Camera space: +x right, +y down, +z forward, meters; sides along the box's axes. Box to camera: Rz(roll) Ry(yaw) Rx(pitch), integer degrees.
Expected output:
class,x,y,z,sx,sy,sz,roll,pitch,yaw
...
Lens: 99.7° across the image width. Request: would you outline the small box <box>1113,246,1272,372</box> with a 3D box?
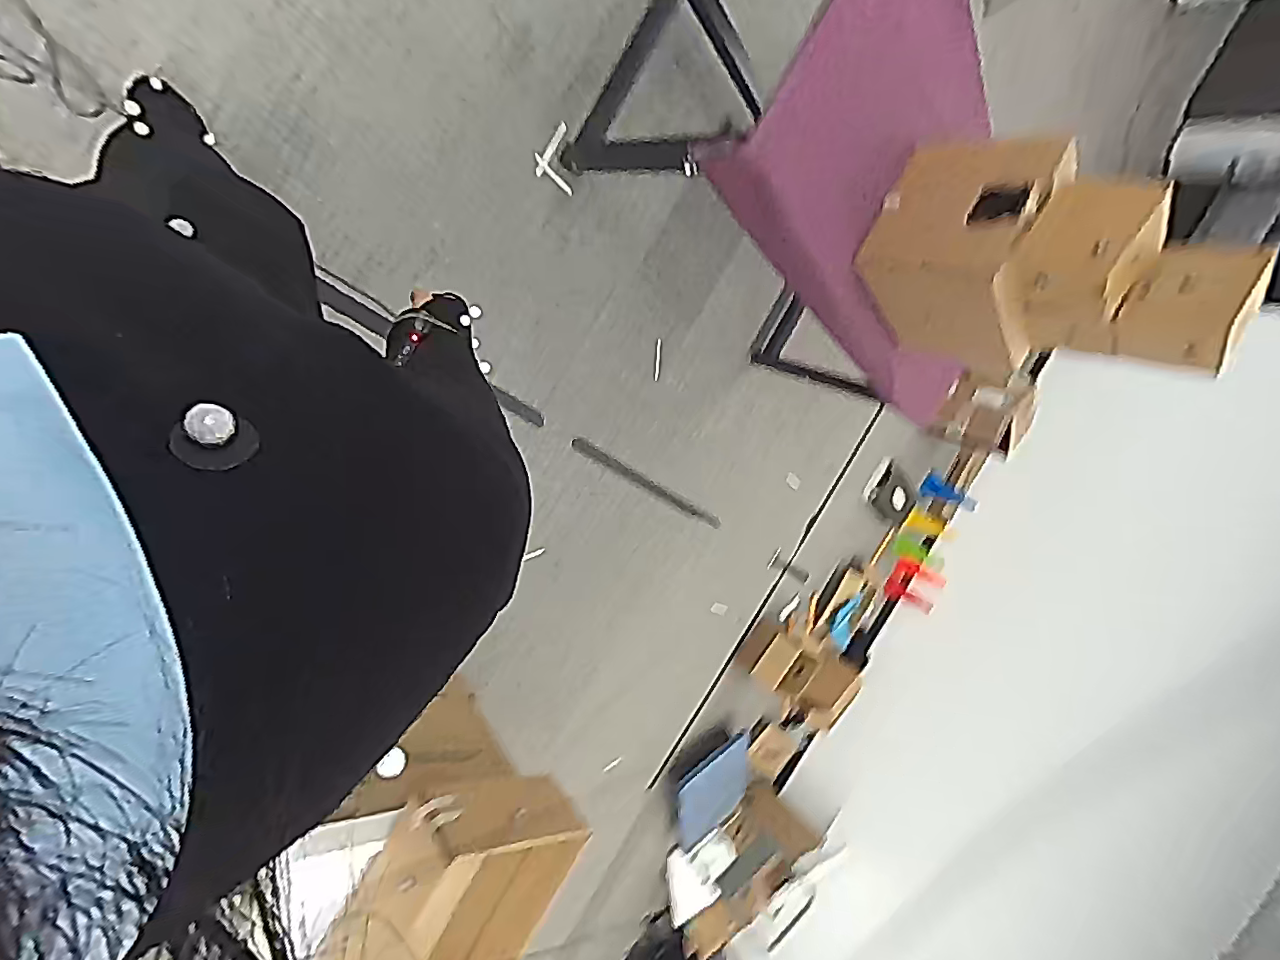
class,x,y,z,sx,sy,sz,roll,pitch,yaw
small box,1.080,-0.341,1.074,0.179,0.176,0.168,28,93,-46
